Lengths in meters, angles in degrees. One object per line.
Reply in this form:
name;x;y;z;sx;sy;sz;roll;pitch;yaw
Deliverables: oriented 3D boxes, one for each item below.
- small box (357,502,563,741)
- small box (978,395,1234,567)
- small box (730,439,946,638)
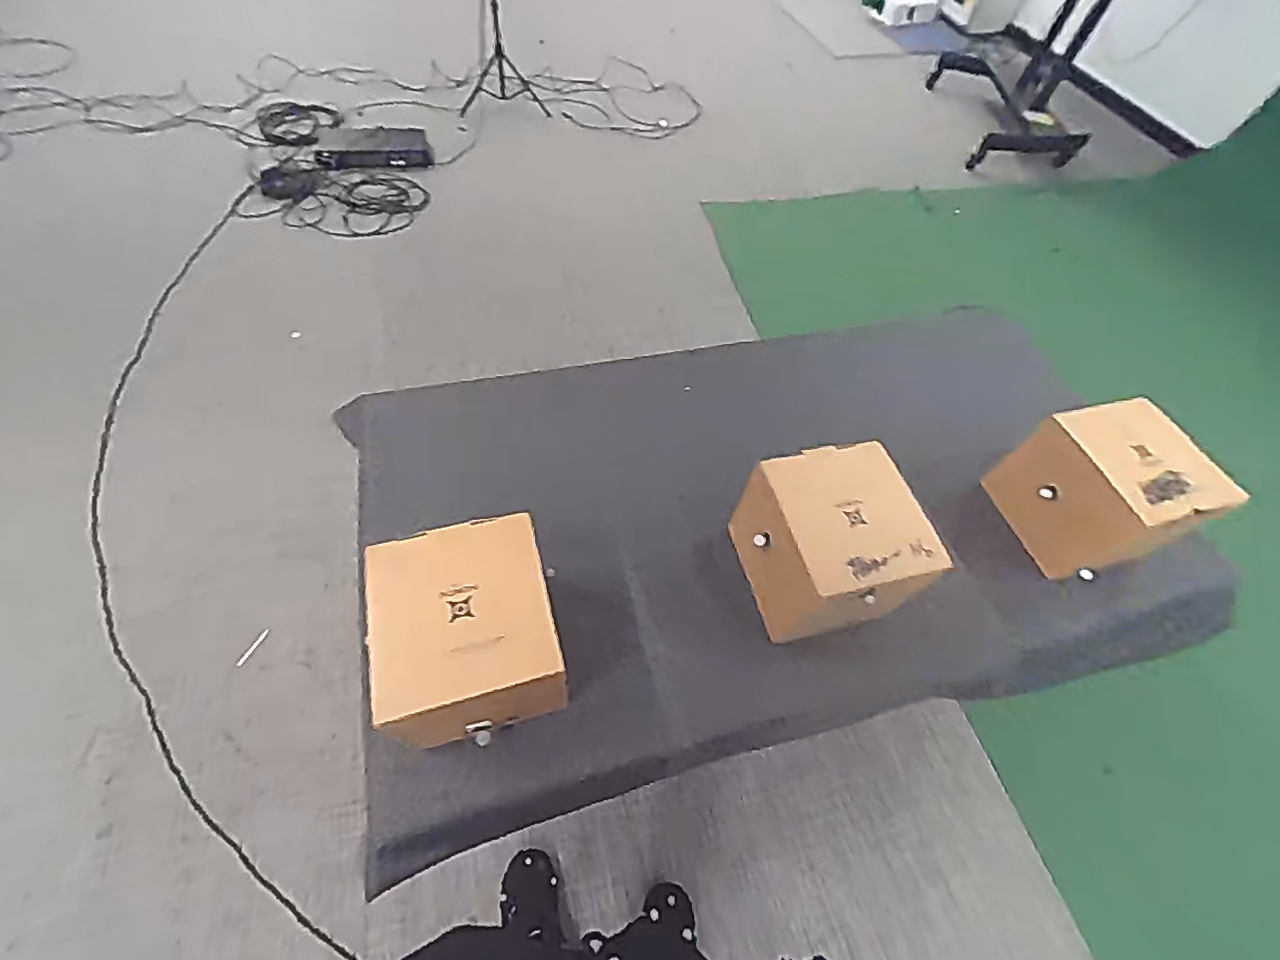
small box;-0.179;0.150;0.565;0.168;0.176;0.179;-11;59;-11
small box;0.636;0.010;0.766;0.168;0.176;0.179;-11;58;-12
small box;0.228;0.076;0.682;0.168;0.176;0.179;-10;59;-12
